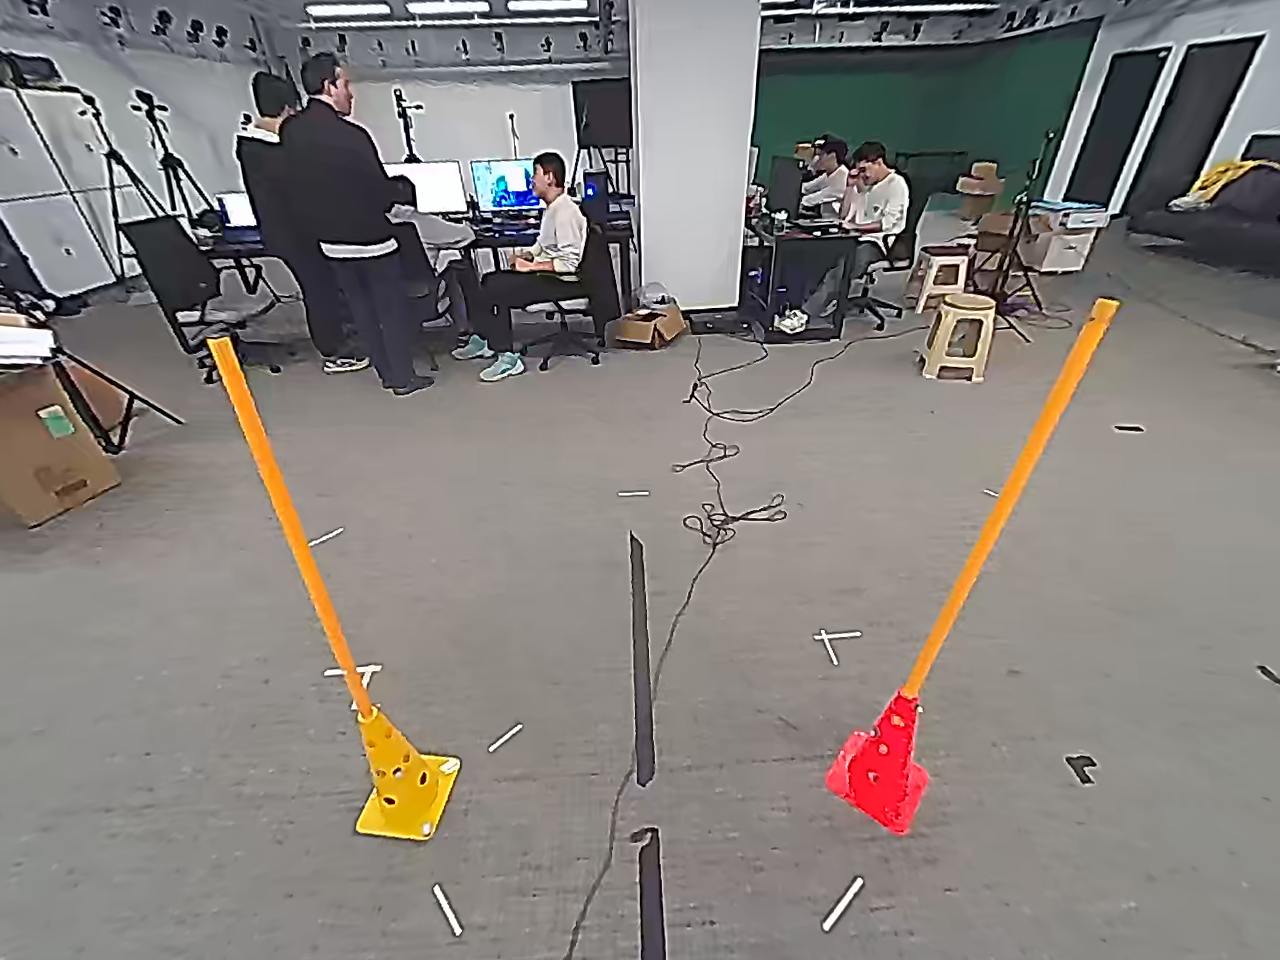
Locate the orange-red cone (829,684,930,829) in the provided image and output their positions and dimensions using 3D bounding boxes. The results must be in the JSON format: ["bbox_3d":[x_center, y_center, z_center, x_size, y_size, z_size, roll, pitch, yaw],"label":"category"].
[{"bbox_3d":[0.598,0.610,1.276,0.198,0.360,0.199,25,43,36],"label":"orange-red cone"}]
